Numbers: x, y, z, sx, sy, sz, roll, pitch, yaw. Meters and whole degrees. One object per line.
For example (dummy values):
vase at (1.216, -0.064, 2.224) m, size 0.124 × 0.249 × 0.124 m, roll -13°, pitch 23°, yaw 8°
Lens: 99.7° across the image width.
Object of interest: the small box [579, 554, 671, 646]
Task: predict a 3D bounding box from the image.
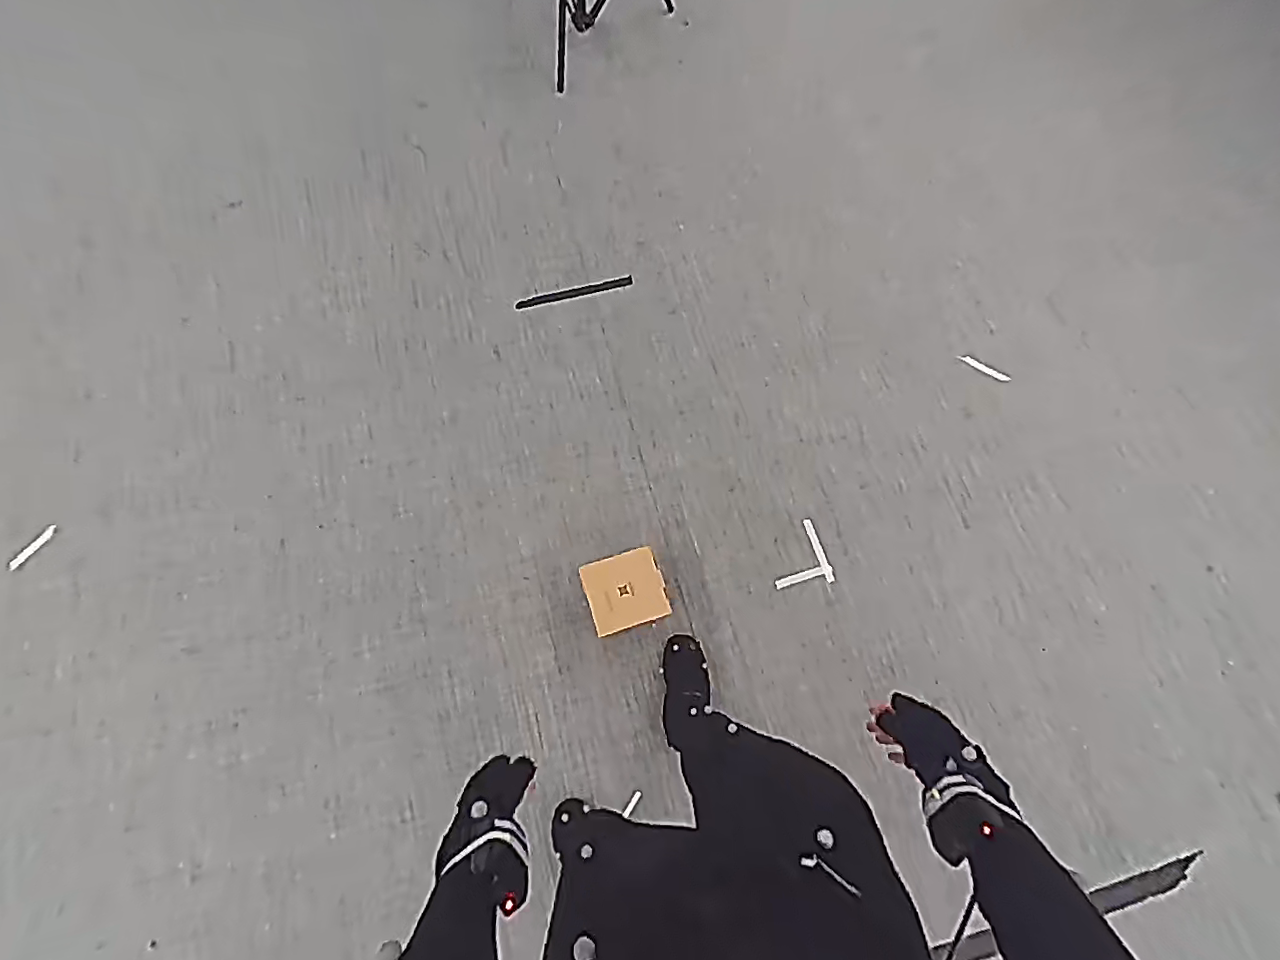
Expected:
small box at (-0.039, 0.292, 1.301) m, size 0.179 × 0.176 × 0.168 m, roll -17°, pitch 73°, yaw -8°
